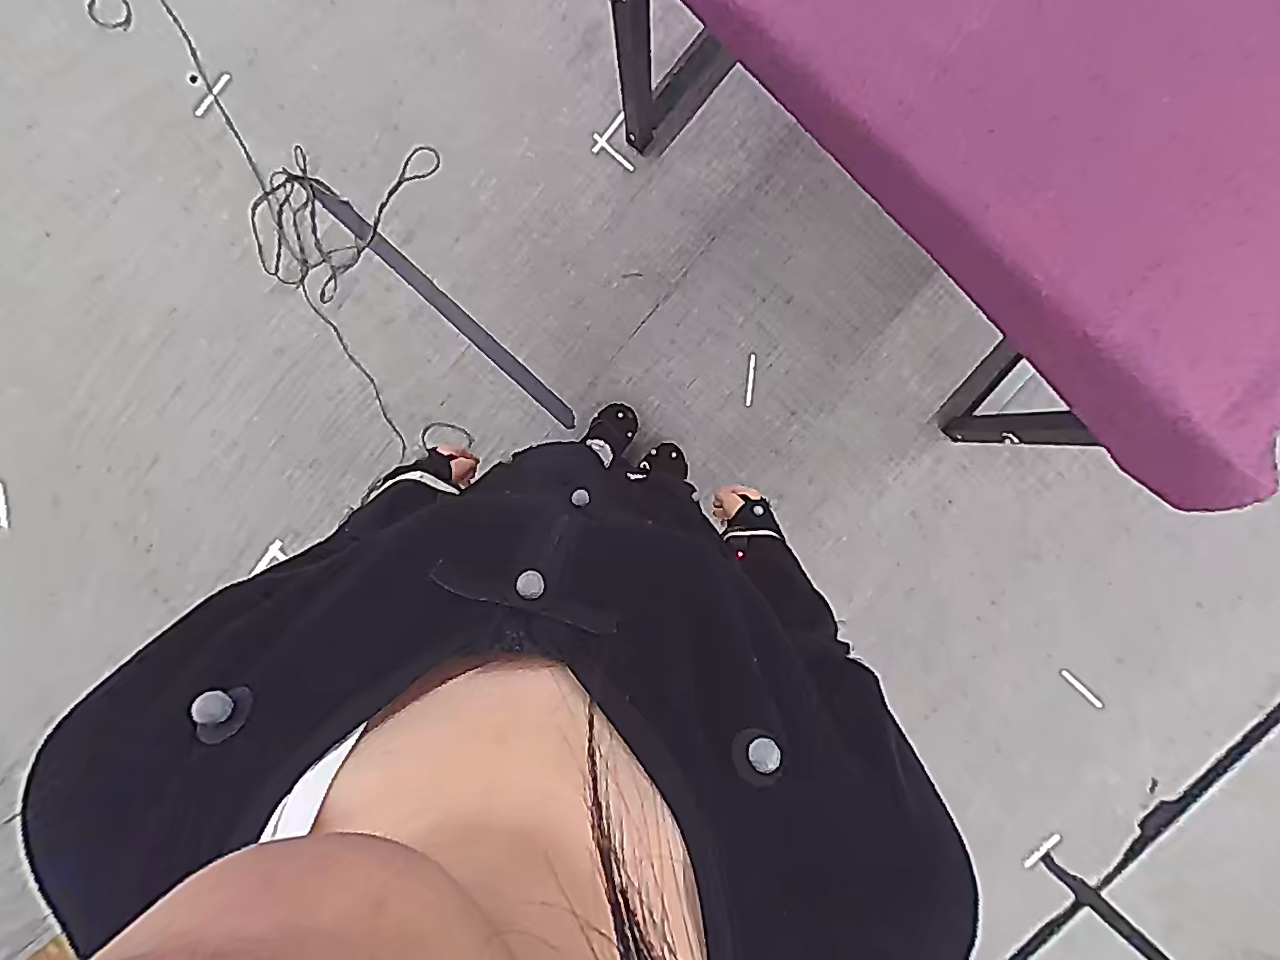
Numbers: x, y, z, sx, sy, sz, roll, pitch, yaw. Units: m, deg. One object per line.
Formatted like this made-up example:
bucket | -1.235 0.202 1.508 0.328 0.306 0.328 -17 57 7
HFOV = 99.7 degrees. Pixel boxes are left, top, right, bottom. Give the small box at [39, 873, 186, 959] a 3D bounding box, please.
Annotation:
small box | -1.074 0.951 1.083 0.168 0.176 0.179 37 96 -1
